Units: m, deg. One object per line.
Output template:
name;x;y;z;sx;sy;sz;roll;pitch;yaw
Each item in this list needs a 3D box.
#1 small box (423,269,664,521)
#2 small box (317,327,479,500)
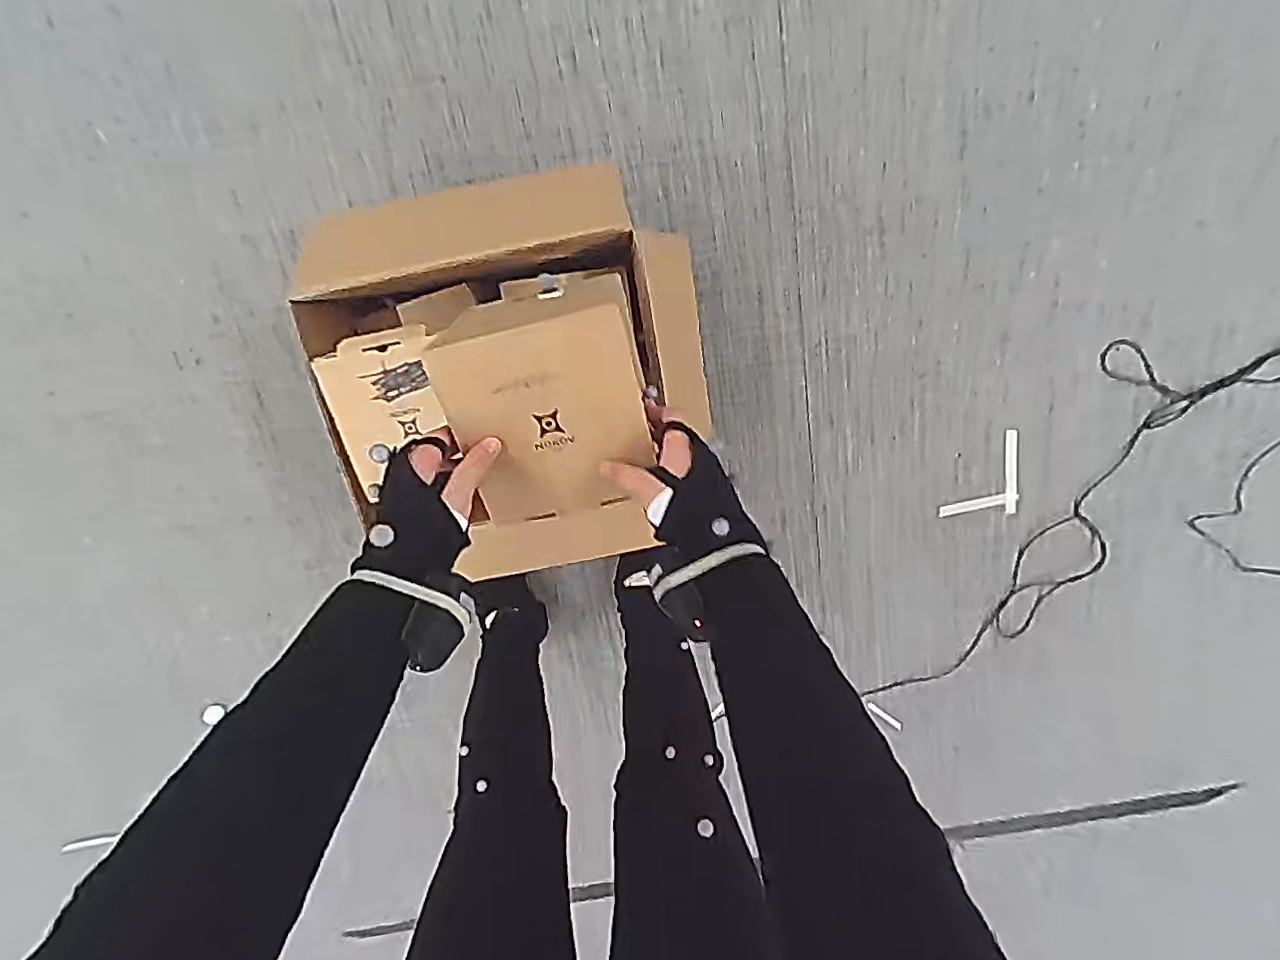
small box;-0.077;-0.089;0.529;0.168;0.176;0.179;-14;118;4
small box;-0.259;-0.096;0.687;0.168;0.176;0.179;-11;110;3
